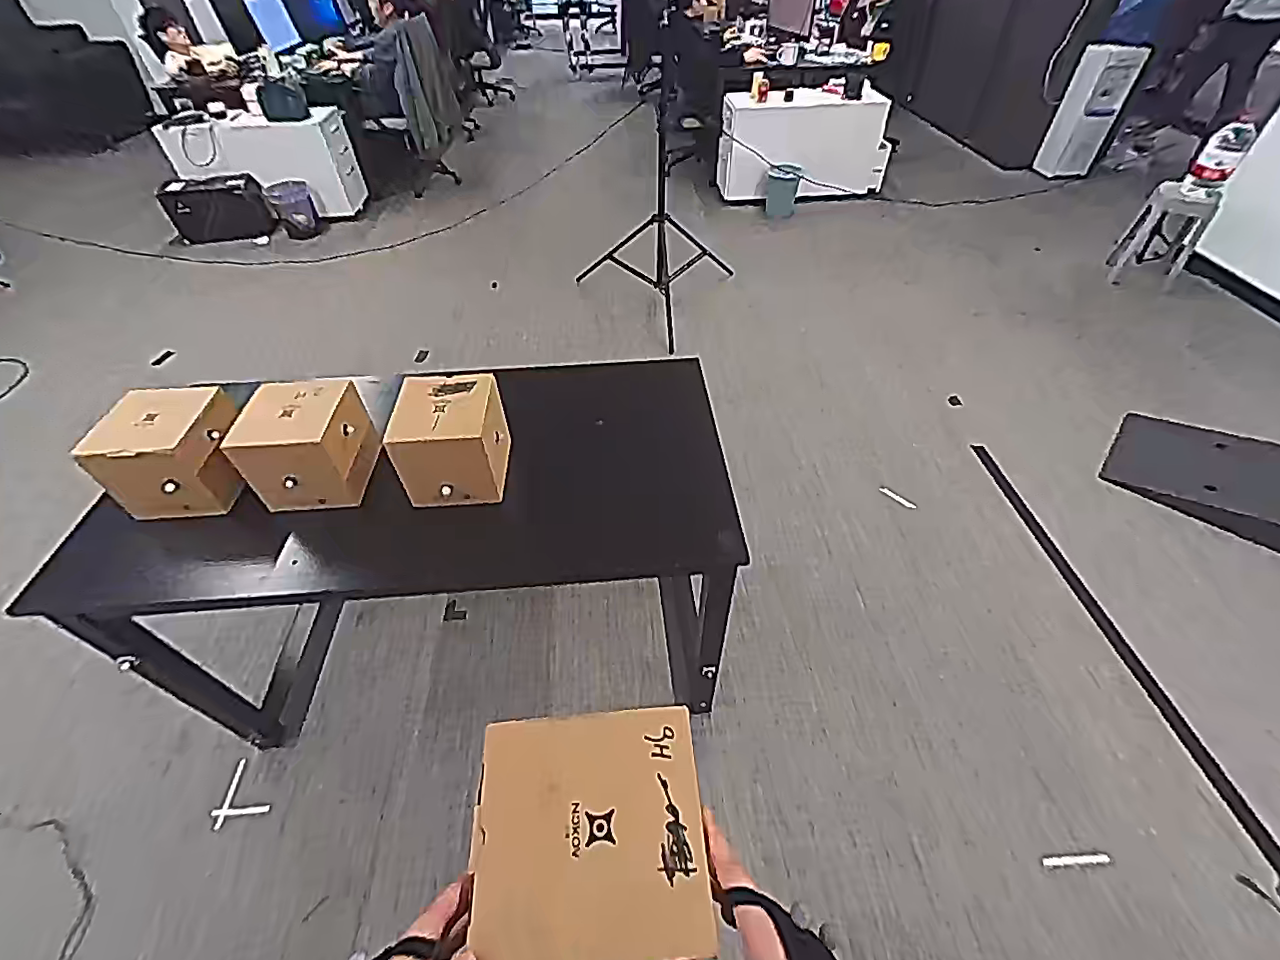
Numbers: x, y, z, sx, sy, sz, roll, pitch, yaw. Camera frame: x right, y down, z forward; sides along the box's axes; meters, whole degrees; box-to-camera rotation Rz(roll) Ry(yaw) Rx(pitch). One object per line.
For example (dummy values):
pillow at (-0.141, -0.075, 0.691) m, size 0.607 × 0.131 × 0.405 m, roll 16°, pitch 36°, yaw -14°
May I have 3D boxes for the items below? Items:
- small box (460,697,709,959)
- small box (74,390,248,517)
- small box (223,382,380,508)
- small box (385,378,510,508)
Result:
small box at (-0.039, 0.306, 0.480) m, size 0.179 × 0.176 × 0.168 m, roll -4°, pitch 53°, yaw -1°
small box at (-0.848, -0.044, 0.998) m, size 0.168 × 0.176 × 0.179 m, roll -3°, pitch 46°, yaw -3°
small box at (-0.609, -0.060, 1.004) m, size 0.168 × 0.176 × 0.179 m, roll -3°, pitch 46°, yaw -2°
small box at (-0.344, -0.069, 1.006) m, size 0.168 × 0.176 × 0.179 m, roll -3°, pitch 47°, yaw -2°
